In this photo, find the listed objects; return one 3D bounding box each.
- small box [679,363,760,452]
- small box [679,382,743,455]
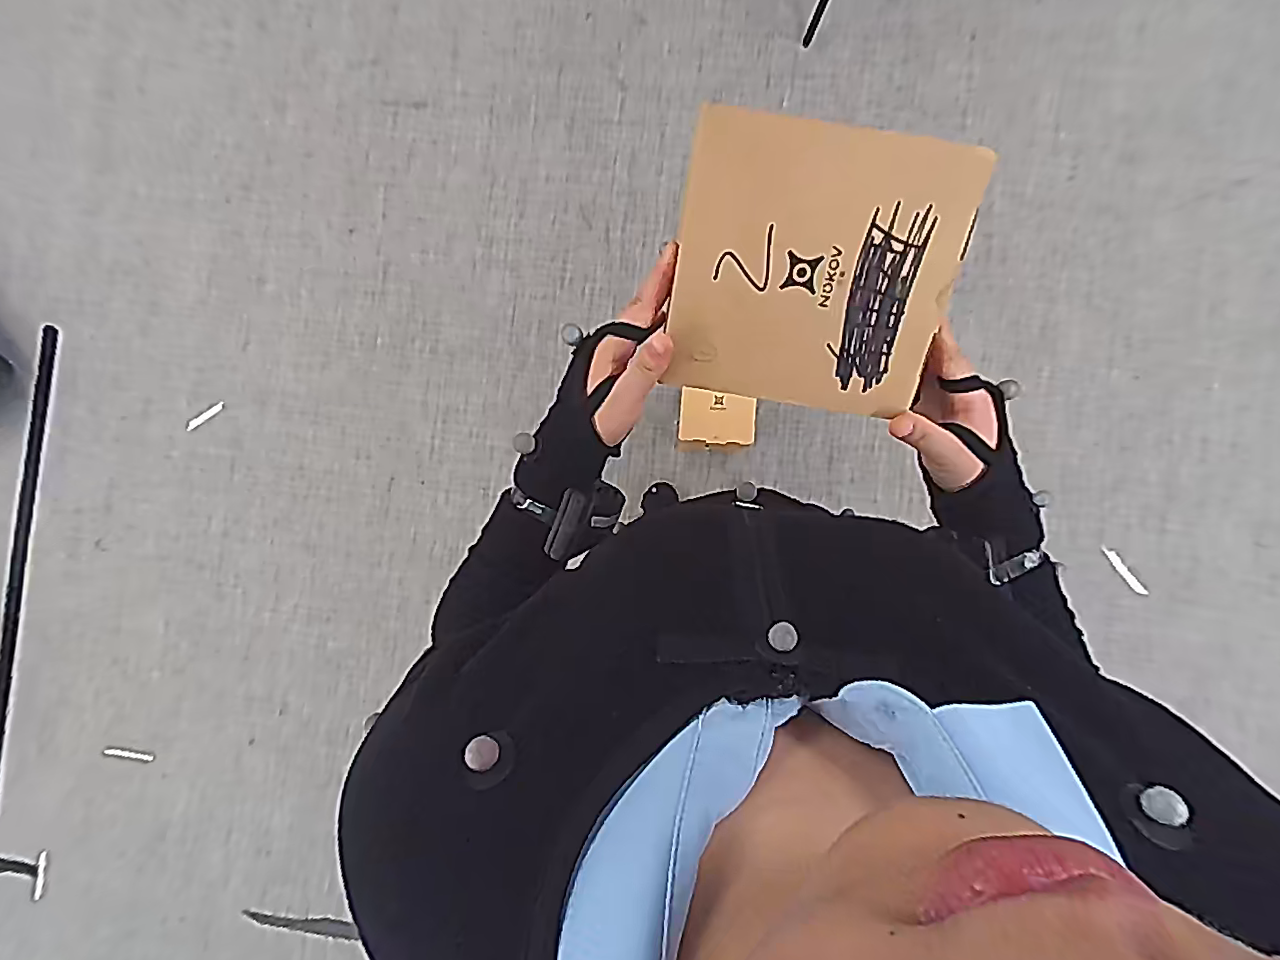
[{"bbox_3d":[0.178,-0.163,1.256,0.168,0.176,0.179,4,90,4],"label":"small box"},{"bbox_3d":[0.188,-0.159,1.419,0.168,0.176,0.179,3,89,3],"label":"small box"}]
